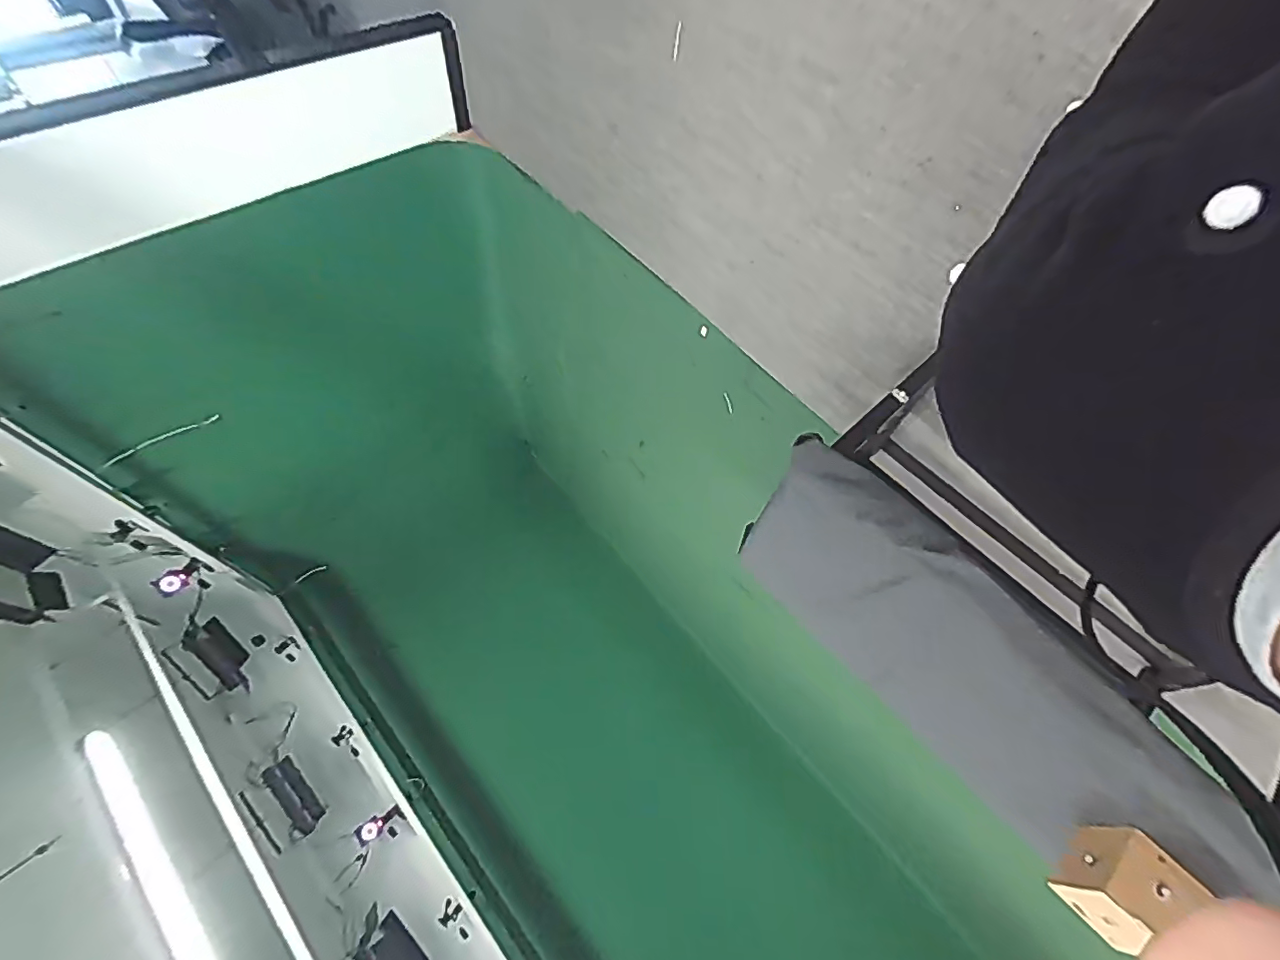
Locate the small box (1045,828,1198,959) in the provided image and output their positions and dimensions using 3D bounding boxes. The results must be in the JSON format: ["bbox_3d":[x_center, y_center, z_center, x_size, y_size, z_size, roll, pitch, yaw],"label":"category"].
[{"bbox_3d":[1.051,0.895,1.179,0.168,0.176,0.179,44,153,20],"label":"small box"}]
